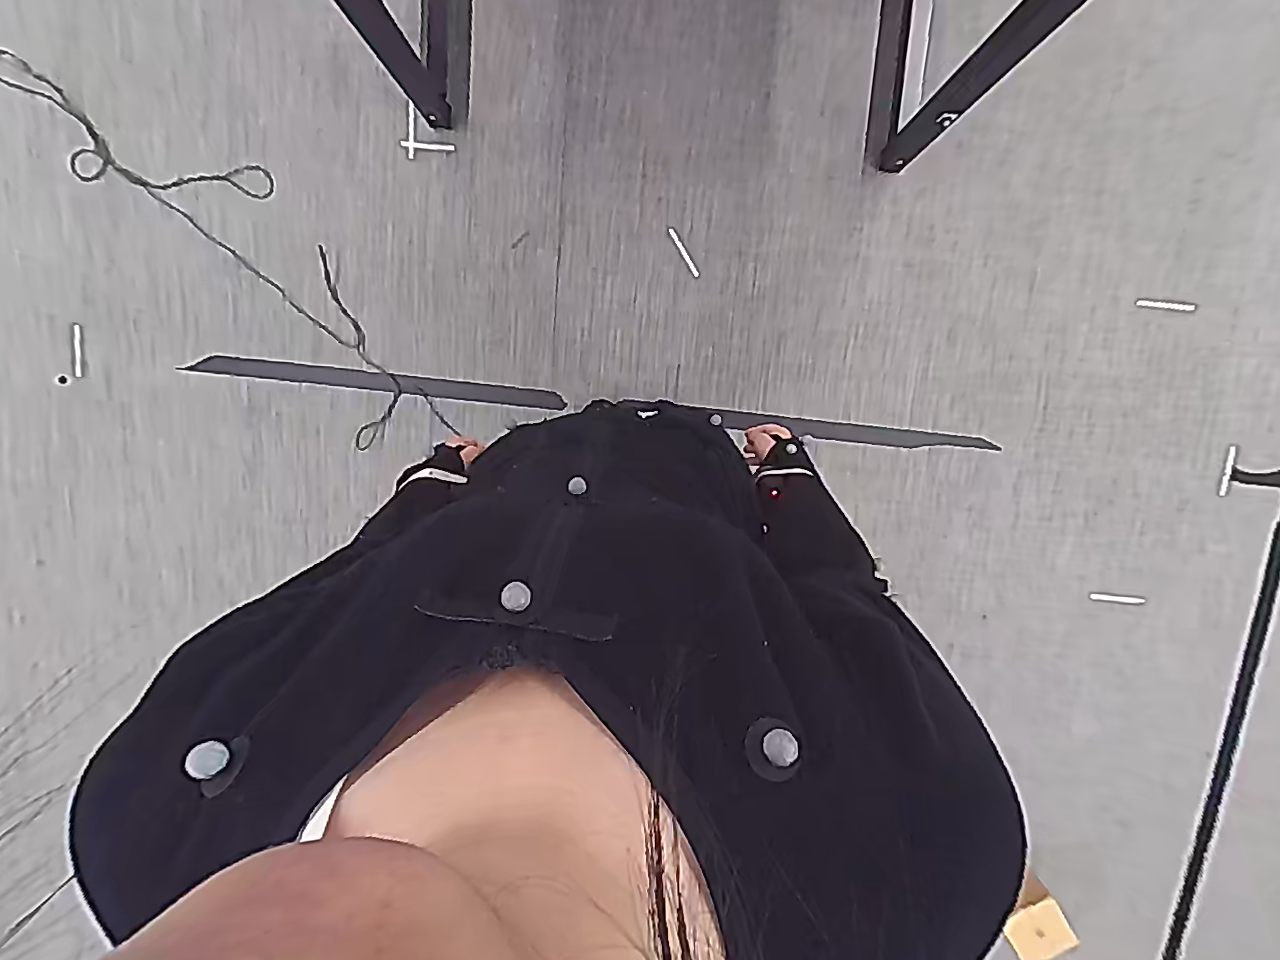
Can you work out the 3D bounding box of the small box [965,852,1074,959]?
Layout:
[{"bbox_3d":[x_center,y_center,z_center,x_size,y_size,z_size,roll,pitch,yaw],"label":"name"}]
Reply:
[{"bbox_3d":[1.103,1.242,1.588,0.168,0.176,0.179,-32,98,5],"label":"small box"}]
